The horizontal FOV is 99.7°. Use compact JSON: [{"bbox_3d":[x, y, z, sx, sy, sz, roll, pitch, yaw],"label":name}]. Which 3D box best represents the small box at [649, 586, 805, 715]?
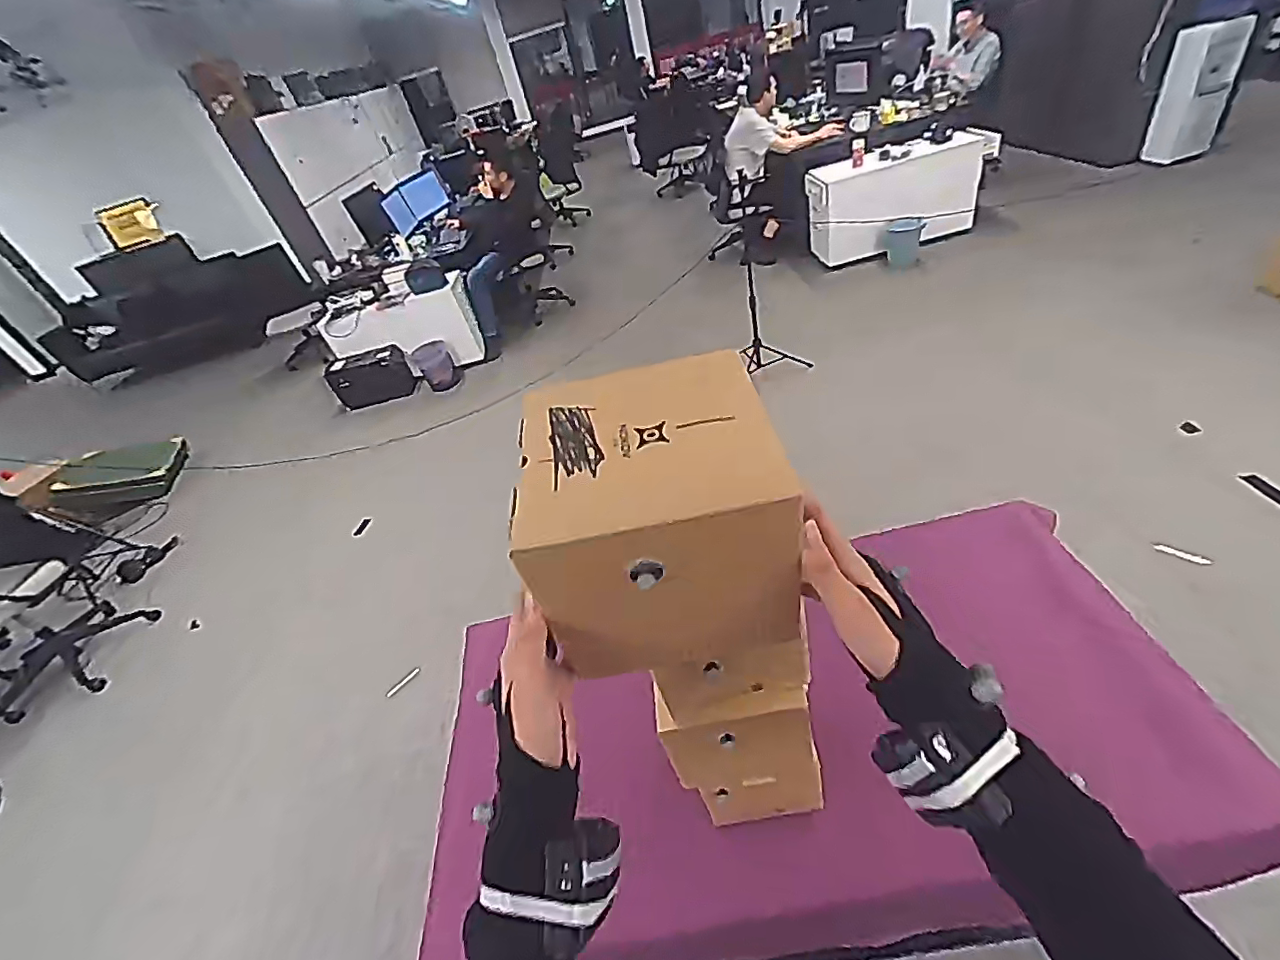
[{"bbox_3d":[0.082,0.149,0.634,0.168,0.176,0.179,-17,37,1],"label":"small box"}]

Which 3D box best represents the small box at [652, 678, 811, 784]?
[{"bbox_3d":[0.118,0.282,0.721,0.179,0.176,0.168,-12,39,7],"label":"small box"}]

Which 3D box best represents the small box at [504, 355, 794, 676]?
[{"bbox_3d":[0.012,0.032,0.421,0.179,0.176,0.168,-12,44,3],"label":"small box"}]
